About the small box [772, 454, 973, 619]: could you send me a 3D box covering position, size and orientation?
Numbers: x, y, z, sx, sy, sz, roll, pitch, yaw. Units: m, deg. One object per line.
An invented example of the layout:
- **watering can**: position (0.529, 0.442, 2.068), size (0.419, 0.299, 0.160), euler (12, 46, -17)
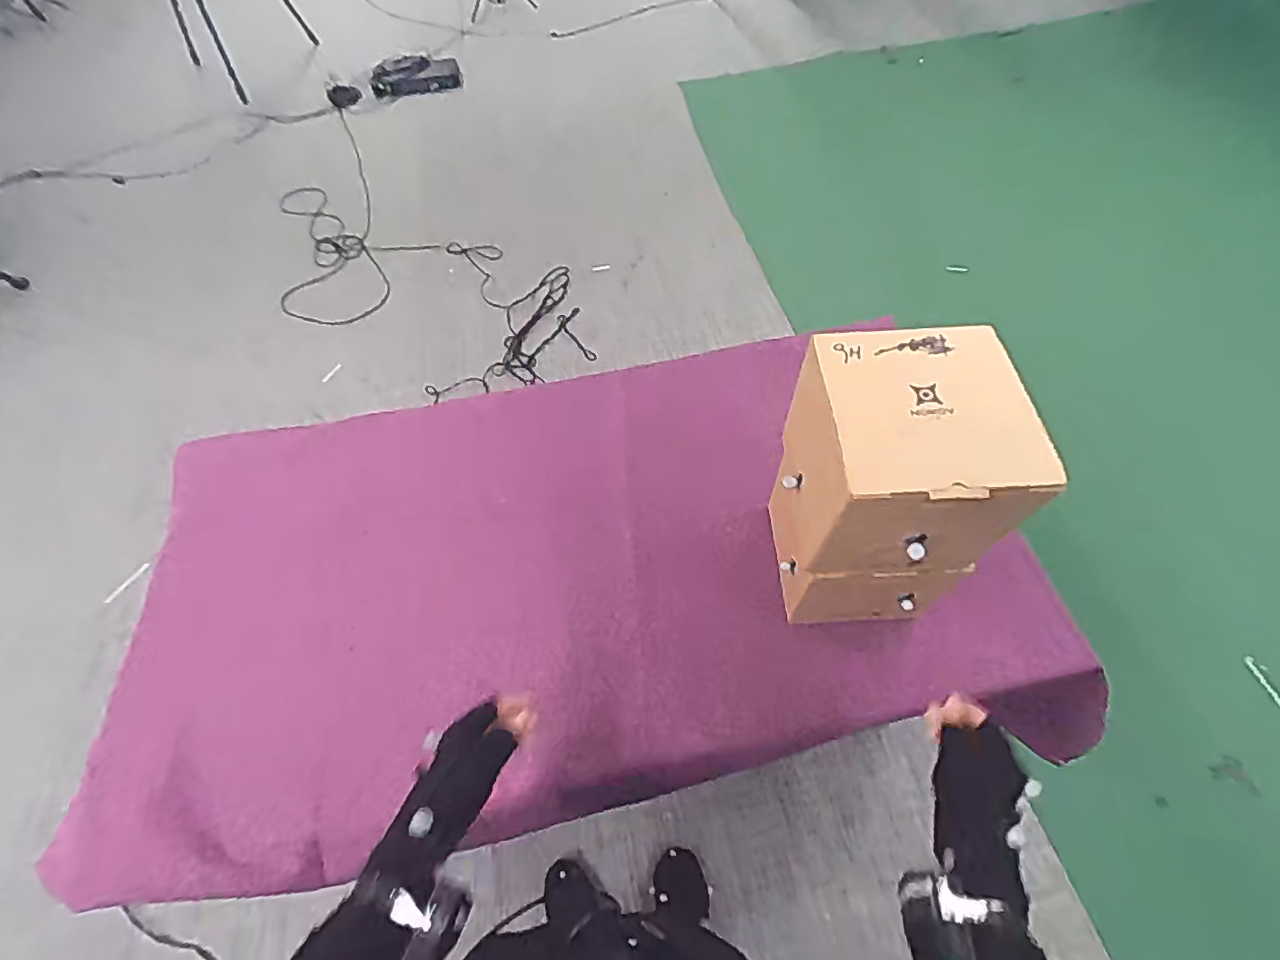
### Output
- **small box**: position (0.264, 0.066, 0.664), size (0.168, 0.176, 0.179), euler (-3, 58, 3)

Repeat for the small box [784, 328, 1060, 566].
- **small box**: position (0.245, -0.022, 0.526), size (0.168, 0.176, 0.179), euler (-2, 60, 2)
